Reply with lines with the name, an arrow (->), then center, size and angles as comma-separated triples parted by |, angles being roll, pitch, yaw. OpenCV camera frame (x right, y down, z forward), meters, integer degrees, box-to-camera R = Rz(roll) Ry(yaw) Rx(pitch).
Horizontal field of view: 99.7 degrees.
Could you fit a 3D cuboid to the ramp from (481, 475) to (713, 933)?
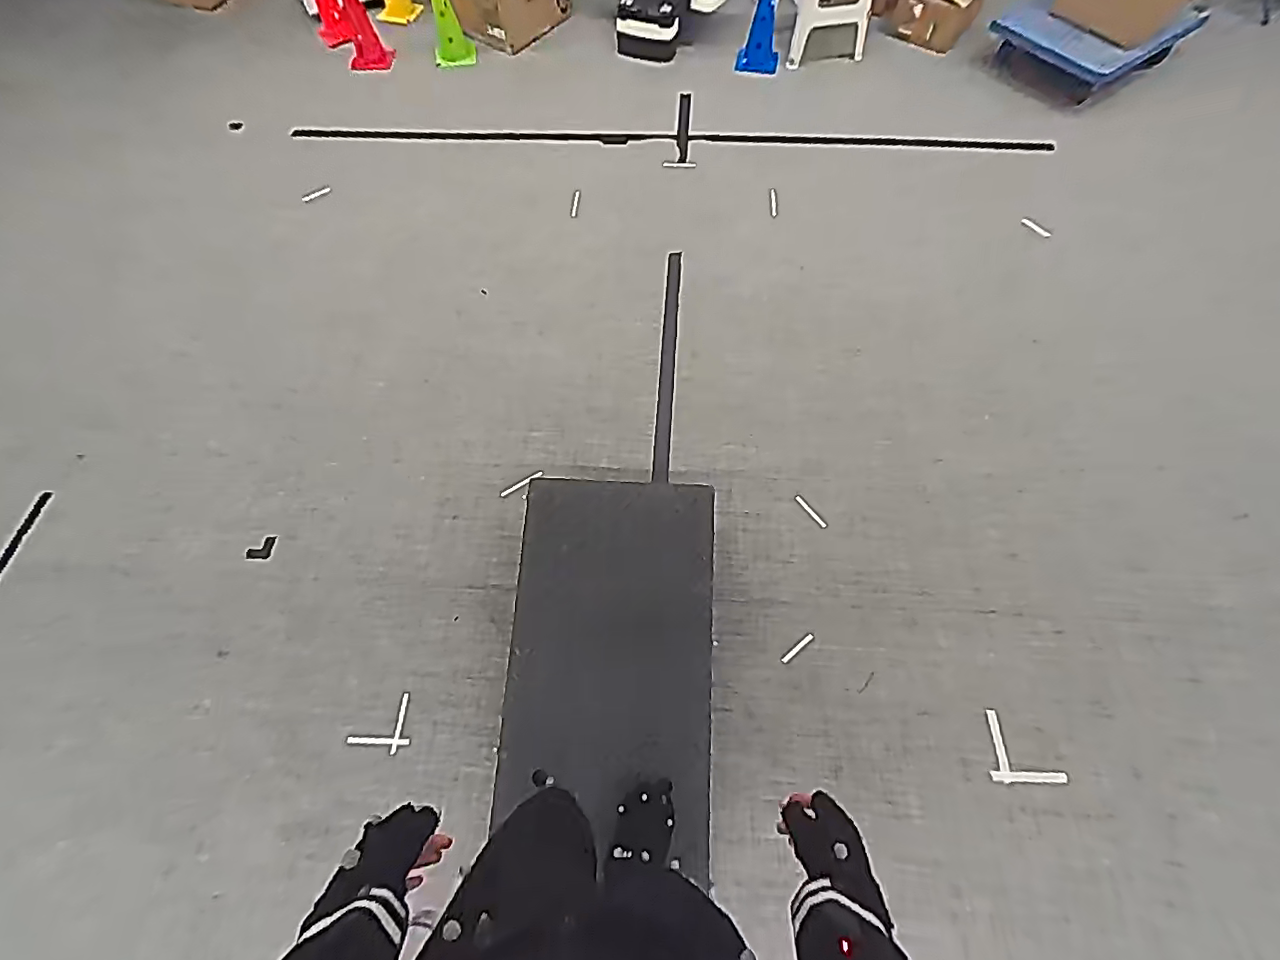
ramp -> -0.073, 0.476, 1.295 | 0.509, 0.206, 0.991 | 2, 64, 0
